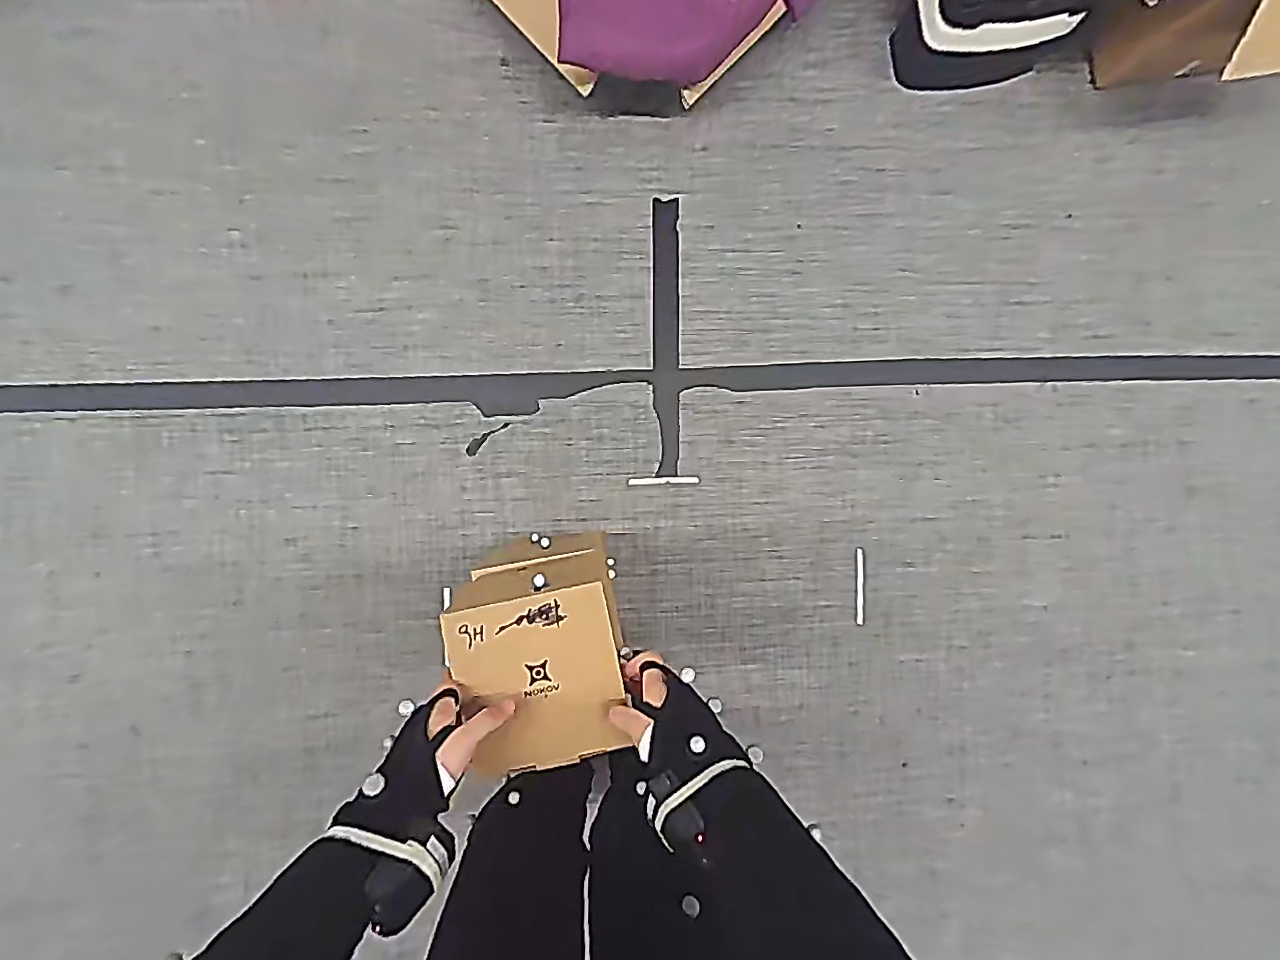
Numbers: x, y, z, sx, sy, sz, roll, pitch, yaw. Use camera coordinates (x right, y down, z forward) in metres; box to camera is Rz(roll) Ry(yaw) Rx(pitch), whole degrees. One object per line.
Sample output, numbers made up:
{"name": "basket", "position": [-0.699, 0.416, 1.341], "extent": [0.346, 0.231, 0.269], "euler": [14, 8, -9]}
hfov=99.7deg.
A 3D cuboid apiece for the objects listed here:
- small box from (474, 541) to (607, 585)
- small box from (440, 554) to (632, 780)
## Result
{"name": "small box", "position": [-0.126, 0.188, 0.783], "extent": [0.168, 0.176, 0.179], "euler": [-10, 92, -2]}
{"name": "small box", "position": [-0.104, 0.198, 0.618], "extent": [0.168, 0.176, 0.179], "euler": [-12, 94, -2]}
